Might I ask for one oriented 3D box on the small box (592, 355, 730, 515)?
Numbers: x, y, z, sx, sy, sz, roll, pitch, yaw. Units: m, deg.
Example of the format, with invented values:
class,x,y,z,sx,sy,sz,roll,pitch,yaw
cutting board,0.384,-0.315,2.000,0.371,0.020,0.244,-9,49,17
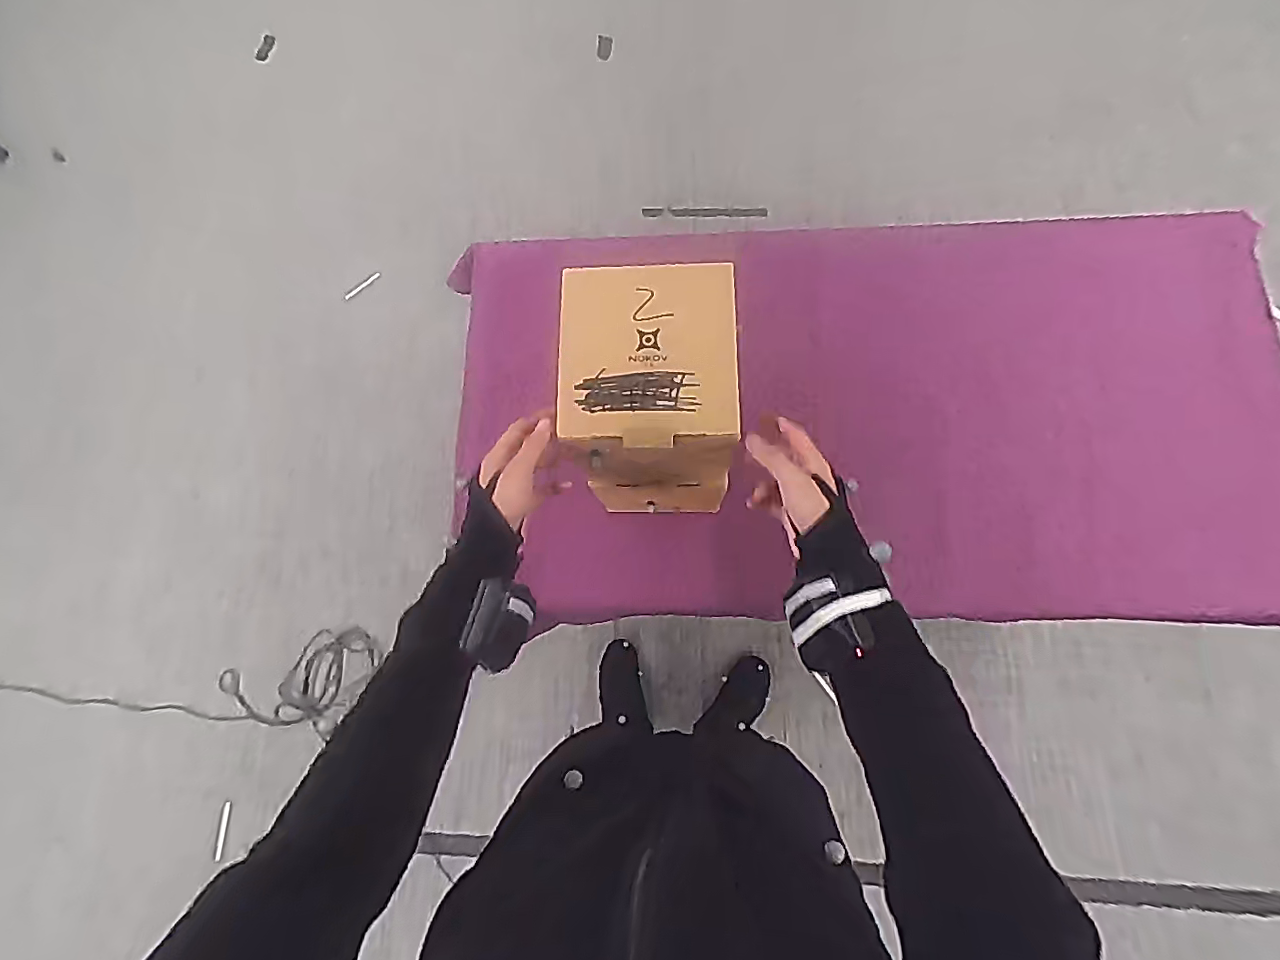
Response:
class,x,y,z,sx,sy,sz,roll,pitch,yaw
small box,0.030,-0.053,0.735,0.168,0.176,0.179,0,77,4
